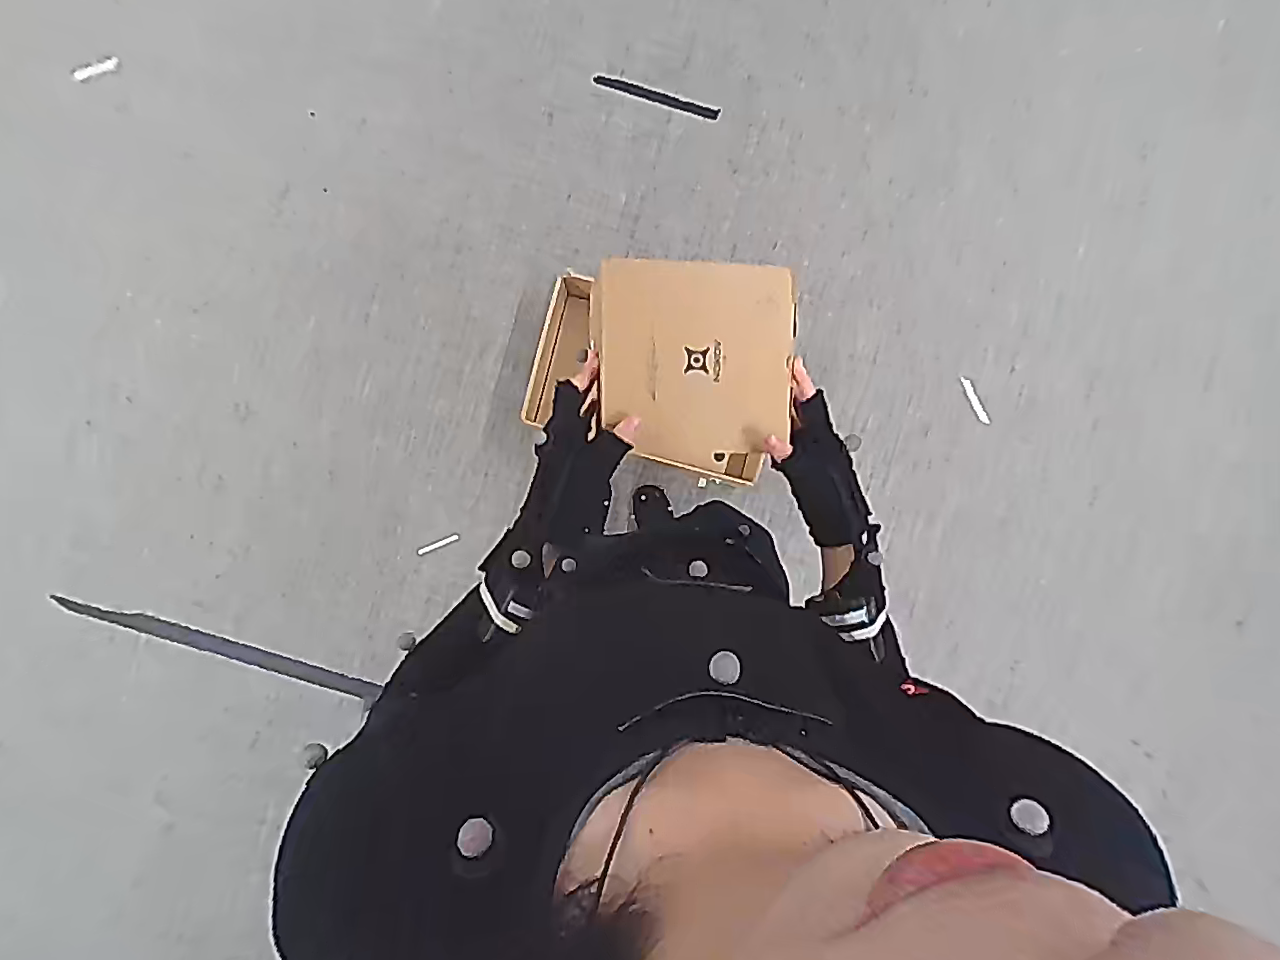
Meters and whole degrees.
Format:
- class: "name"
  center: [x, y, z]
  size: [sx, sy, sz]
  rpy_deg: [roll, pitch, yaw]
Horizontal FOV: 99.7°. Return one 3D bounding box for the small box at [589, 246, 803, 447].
- class: "small box"
  center: [0.043, -0.121, 0.540]
  size: [0.179, 0.176, 0.168]
  rpy_deg: [-2, 97, -8]
